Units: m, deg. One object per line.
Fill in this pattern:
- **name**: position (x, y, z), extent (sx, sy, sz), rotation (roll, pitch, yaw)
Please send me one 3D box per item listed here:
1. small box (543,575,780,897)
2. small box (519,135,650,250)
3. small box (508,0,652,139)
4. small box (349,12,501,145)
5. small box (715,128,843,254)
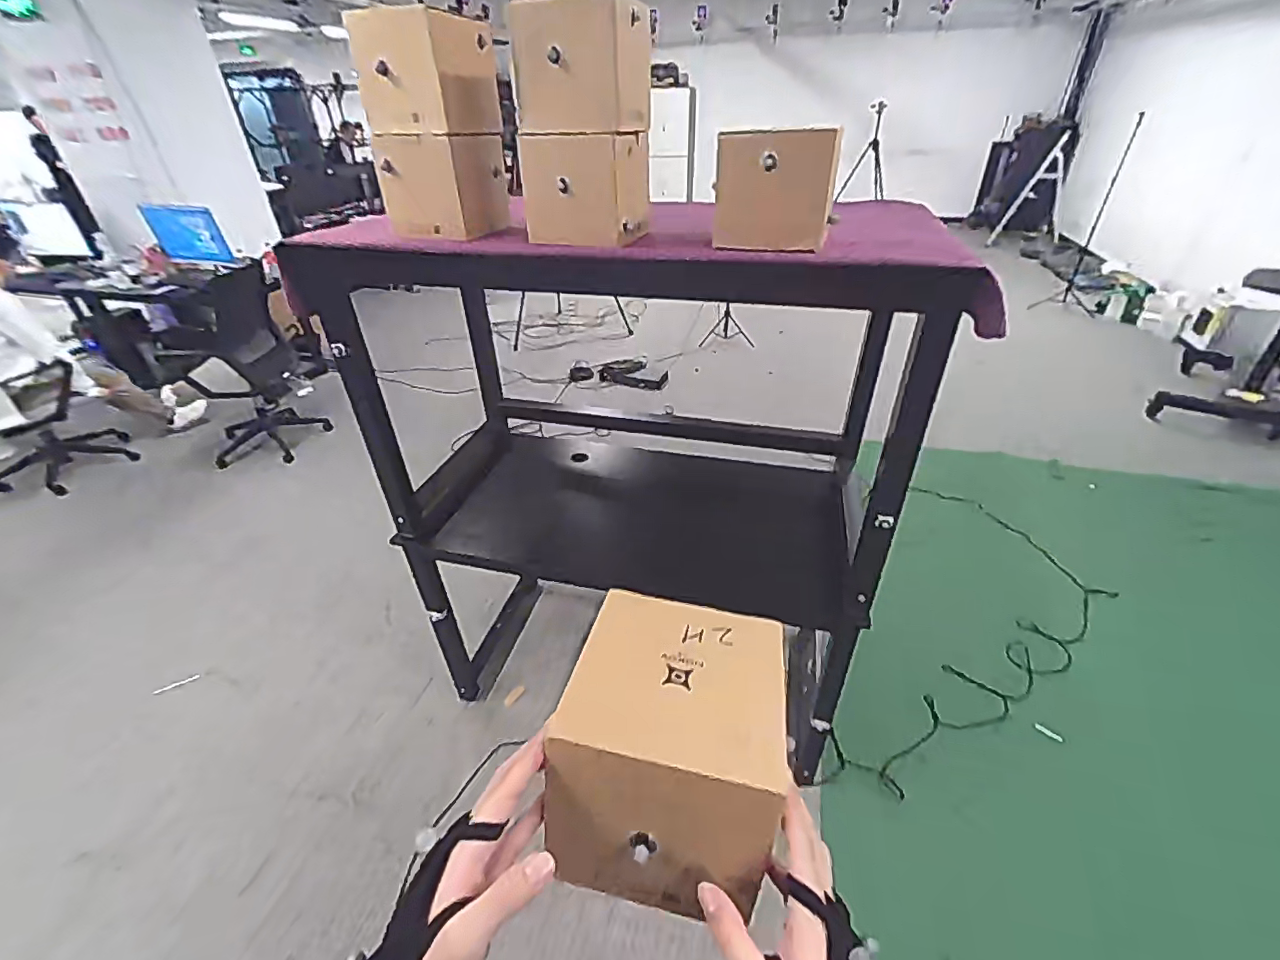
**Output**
- **small box**: position (0.026, 0.213, 0.475), extent (0.168, 0.176, 0.179), rotation (9, 26, 10)
- **small box**: position (-0.088, -0.514, 0.964), extent (0.179, 0.176, 0.168), rotation (9, 35, 18)
- **small box**: position (-0.086, -0.653, 0.877), extent (0.179, 0.176, 0.168), rotation (8, 35, 16)
- **small box**: position (-0.364, -0.696, 0.955), extent (0.168, 0.176, 0.179), rotation (10, 34, 17)
- **small box**: position (0.227, -0.478, 0.894), extent (0.179, 0.176, 0.168), rotation (10, 36, 18)
